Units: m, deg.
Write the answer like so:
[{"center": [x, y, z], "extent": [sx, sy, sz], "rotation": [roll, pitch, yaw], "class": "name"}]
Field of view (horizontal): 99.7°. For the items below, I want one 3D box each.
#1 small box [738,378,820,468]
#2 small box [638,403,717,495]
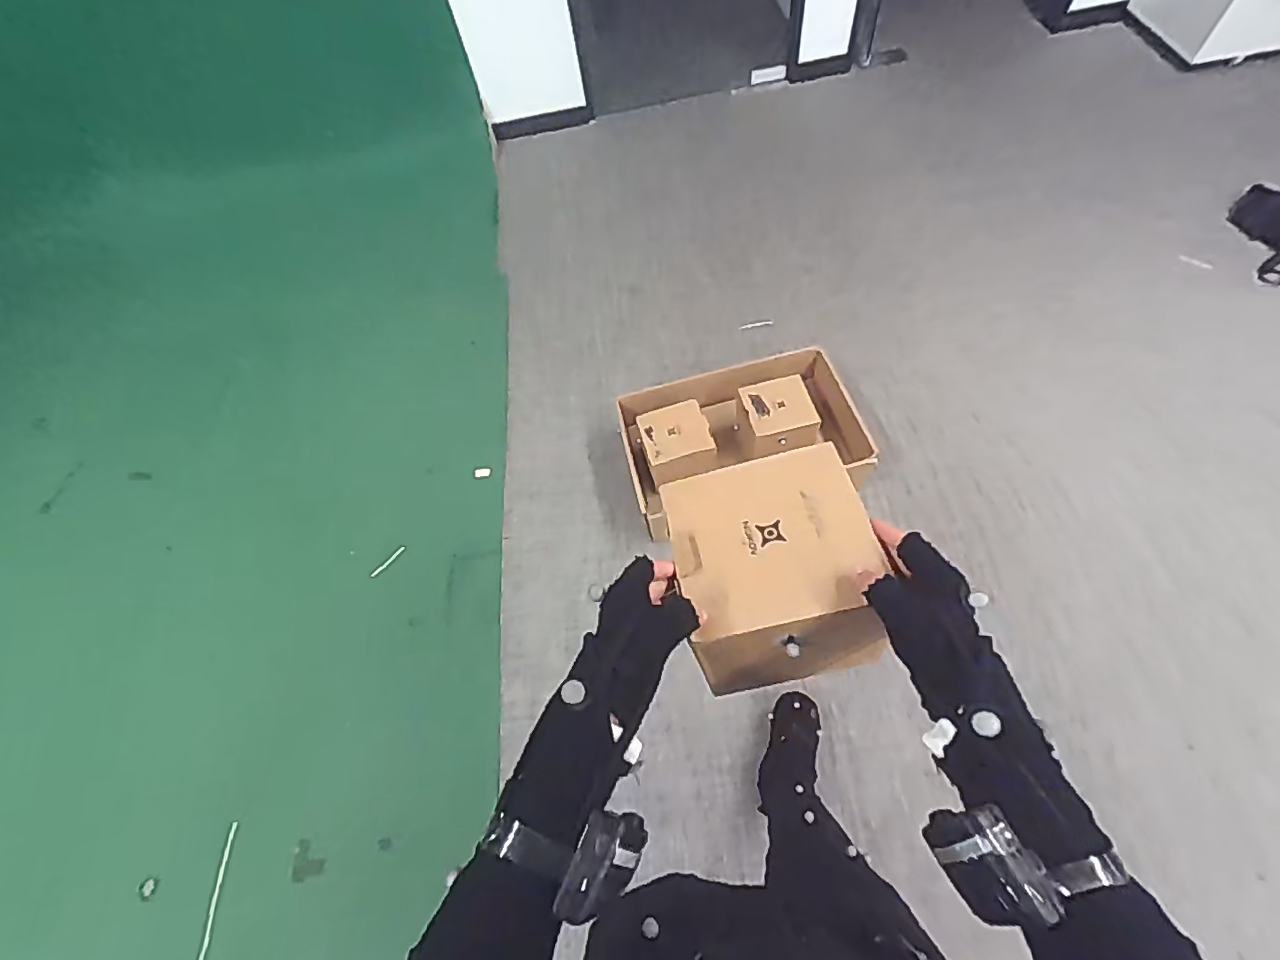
[{"center": [0.377, -0.151, 1.496], "extent": [0.179, 0.176, 0.168], "rotation": [-13, 61, 0], "class": "small box"}, {"center": [0.103, -0.082, 1.494], "extent": [0.179, 0.176, 0.168], "rotation": [-16, 60, -3], "class": "small box"}]
